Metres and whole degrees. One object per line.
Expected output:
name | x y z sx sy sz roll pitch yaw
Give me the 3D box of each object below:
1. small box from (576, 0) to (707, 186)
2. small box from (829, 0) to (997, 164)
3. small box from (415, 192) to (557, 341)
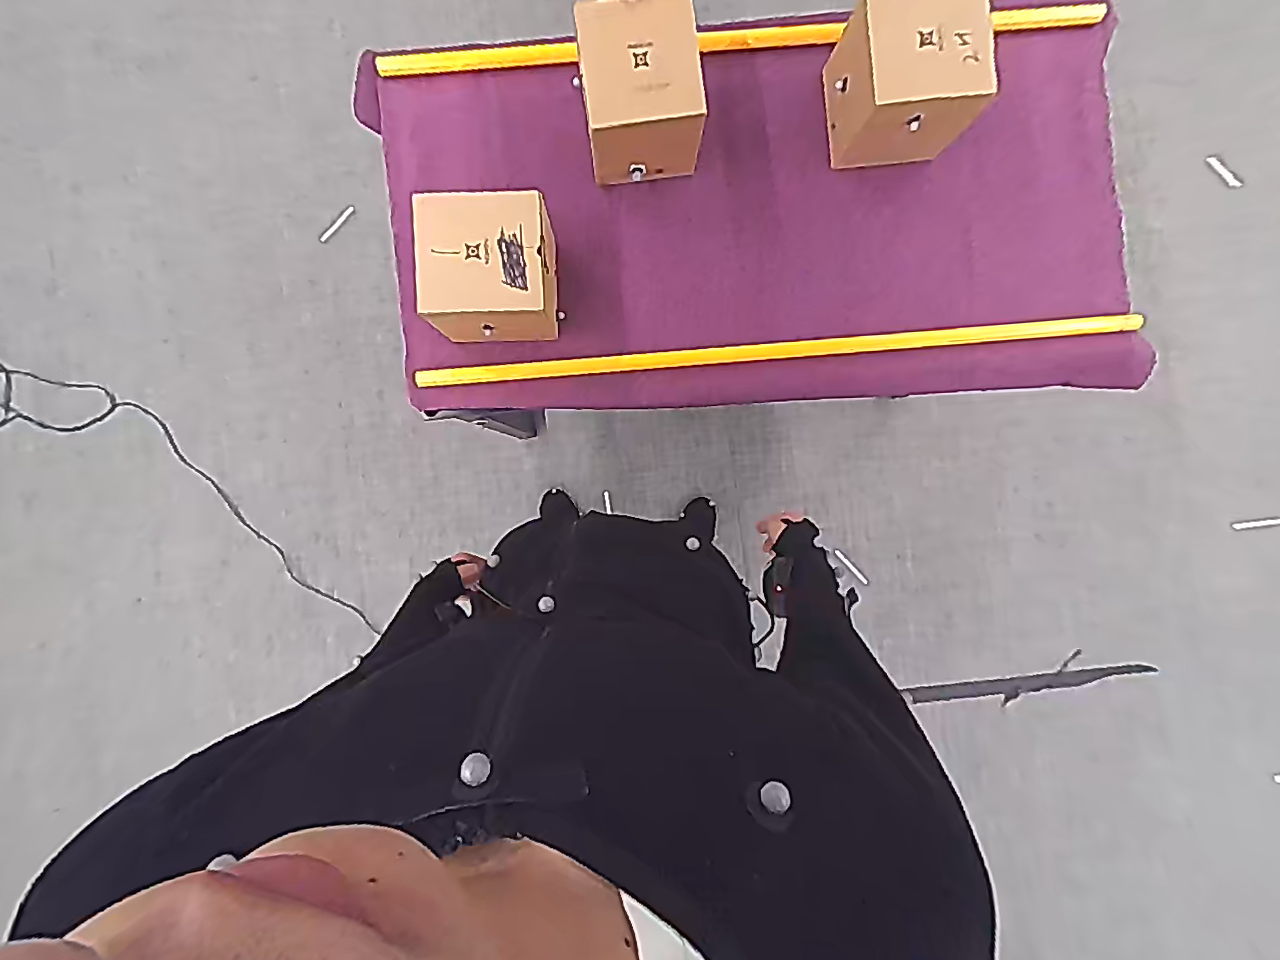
small box | 0.000 -0.582 0.819 0.168 0.176 0.179 -8 92 0
small box | 0.401 -0.611 0.825 0.179 0.176 0.168 -6 92 -1
small box | -0.219 -0.311 0.815 0.179 0.176 0.168 -2 91 -2
